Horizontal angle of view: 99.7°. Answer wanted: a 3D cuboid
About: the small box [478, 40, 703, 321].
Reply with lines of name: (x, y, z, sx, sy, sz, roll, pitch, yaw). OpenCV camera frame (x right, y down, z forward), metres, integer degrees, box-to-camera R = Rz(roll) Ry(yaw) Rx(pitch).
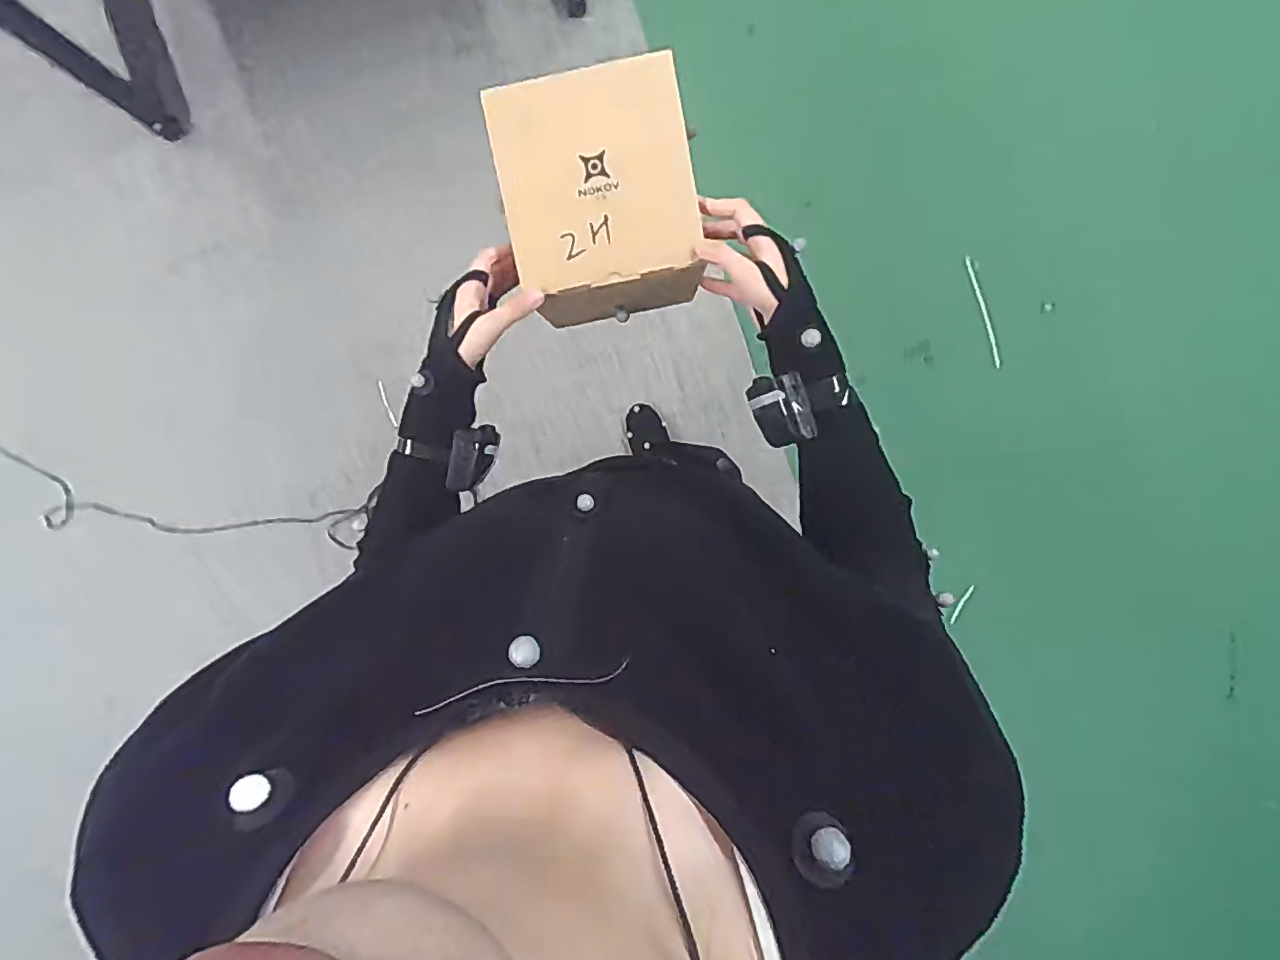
small box: (-0.040, -0.272, 0.534, 0.168, 0.176, 0.179, -11, 96, 2)
